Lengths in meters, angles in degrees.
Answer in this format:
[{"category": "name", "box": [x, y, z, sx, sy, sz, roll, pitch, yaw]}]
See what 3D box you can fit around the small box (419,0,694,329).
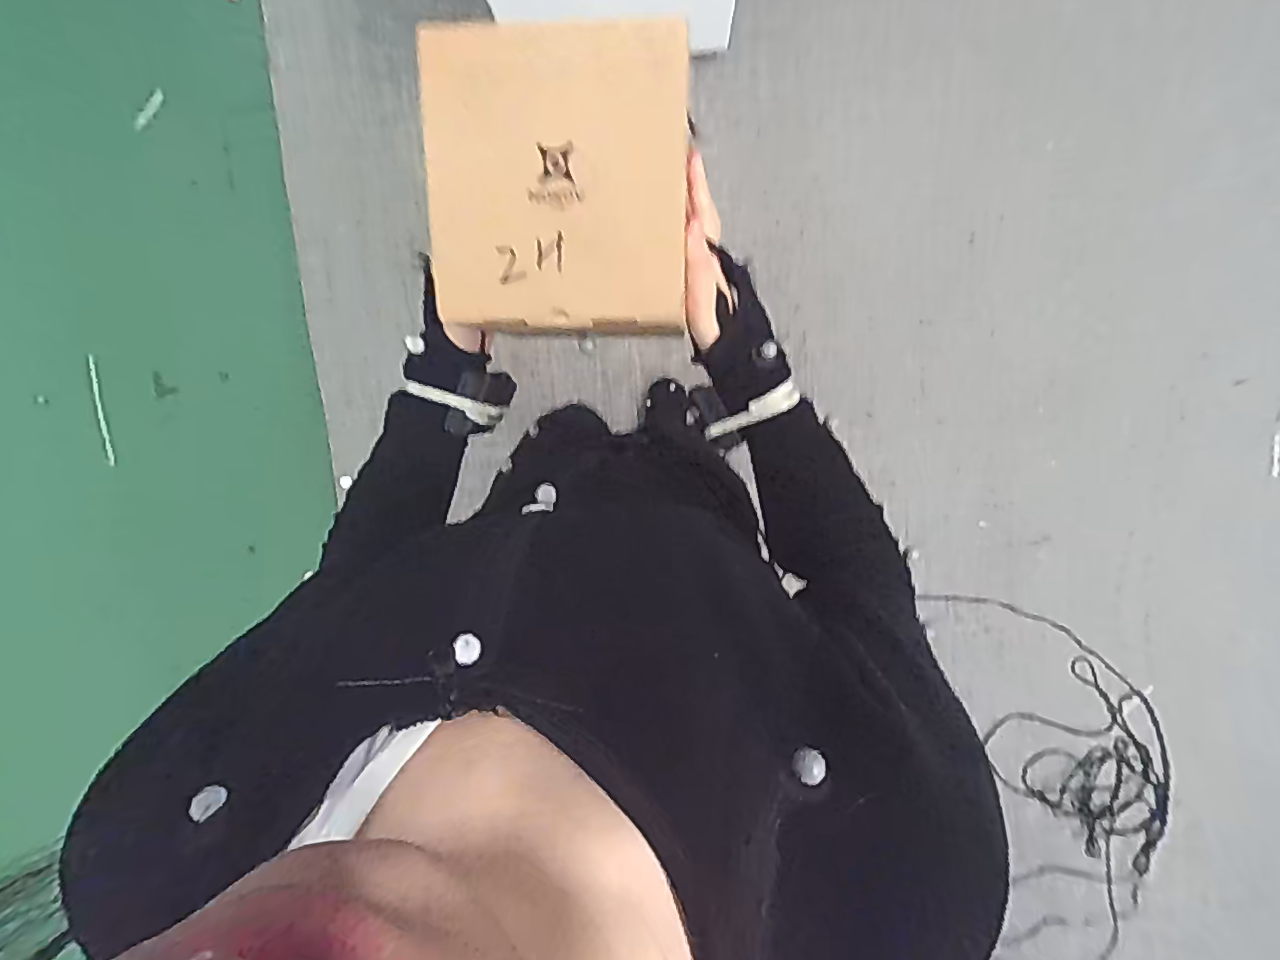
[{"category": "small box", "box": [-0.044, -0.213, 0.409, 0.168, 0.176, 0.179, 0, 102, 5]}]
